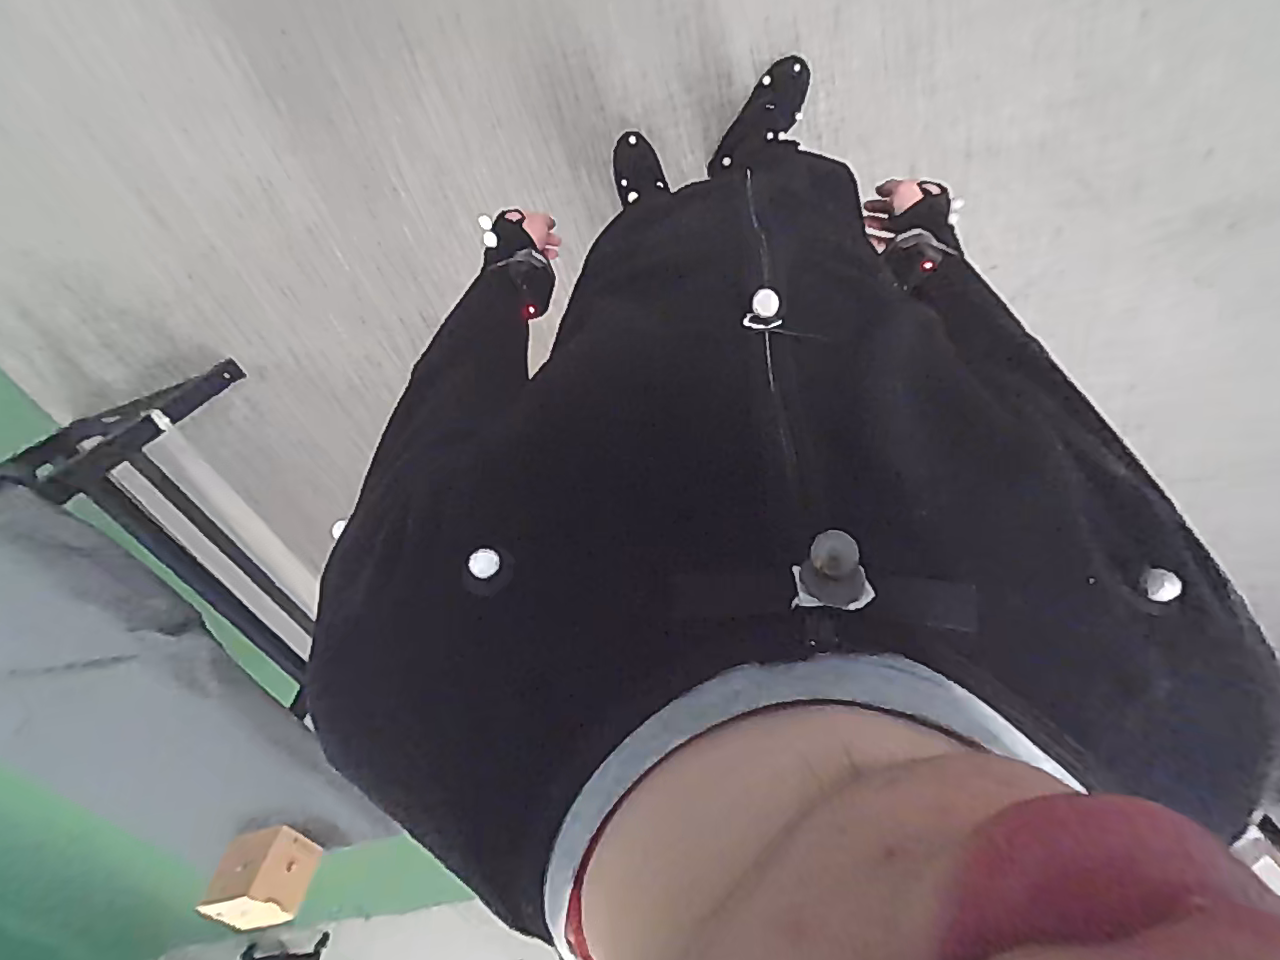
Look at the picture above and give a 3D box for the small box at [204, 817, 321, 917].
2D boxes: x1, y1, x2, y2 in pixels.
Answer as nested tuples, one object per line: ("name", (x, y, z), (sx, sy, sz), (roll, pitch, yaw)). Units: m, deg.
("small box", (-1.008, 1.046, 1.468), (0.179, 0.176, 0.168), (-20, 122, 11))
